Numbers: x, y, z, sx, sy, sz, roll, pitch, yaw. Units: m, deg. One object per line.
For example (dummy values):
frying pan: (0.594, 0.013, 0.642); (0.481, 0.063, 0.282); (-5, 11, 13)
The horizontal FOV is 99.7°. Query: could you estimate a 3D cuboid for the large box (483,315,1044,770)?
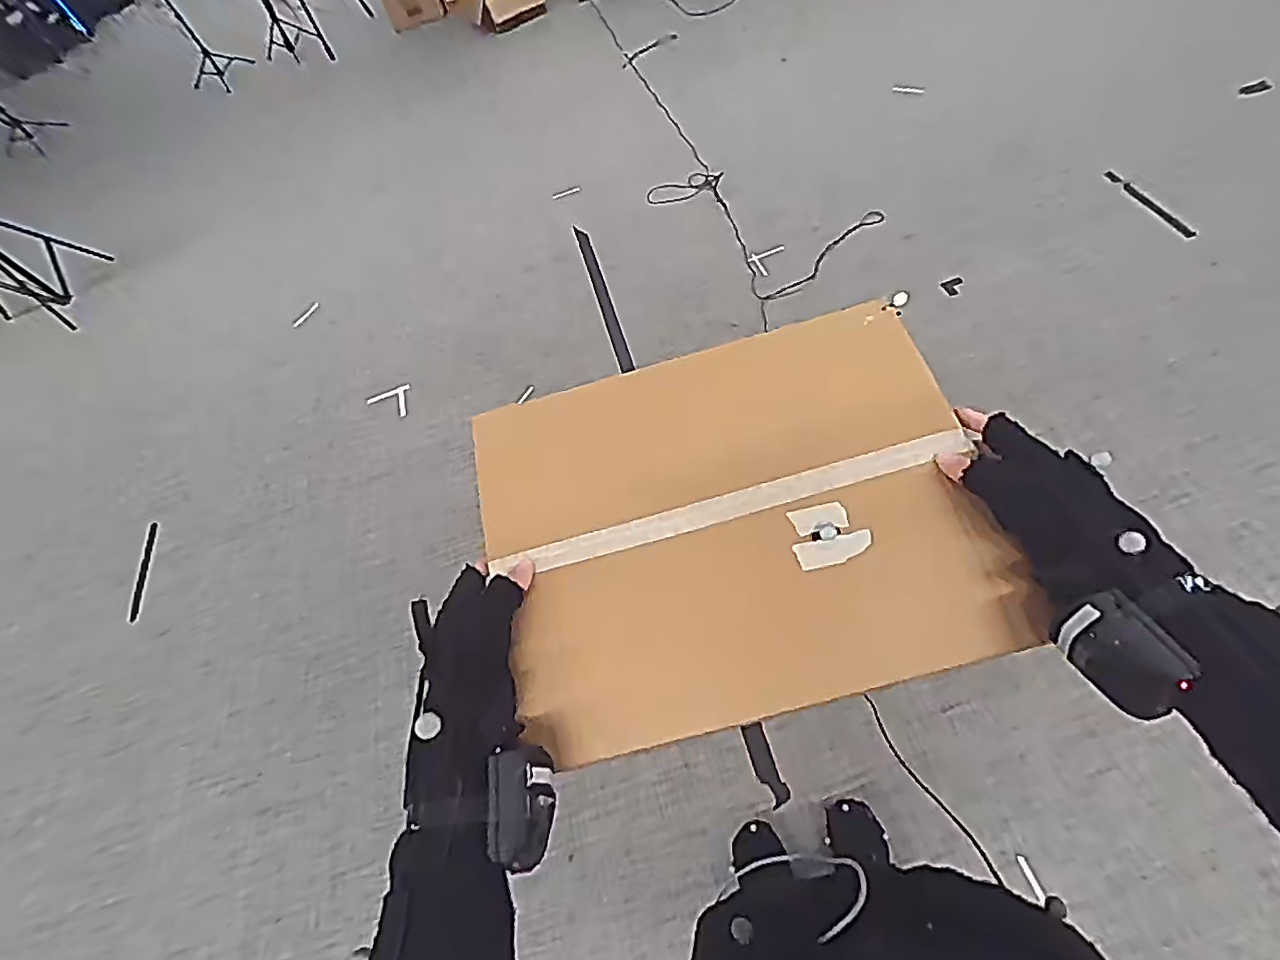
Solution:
large box: (0.091, 0.088, 0.594); (0.408, 0.320, 0.320); (-16, 66, 1)
